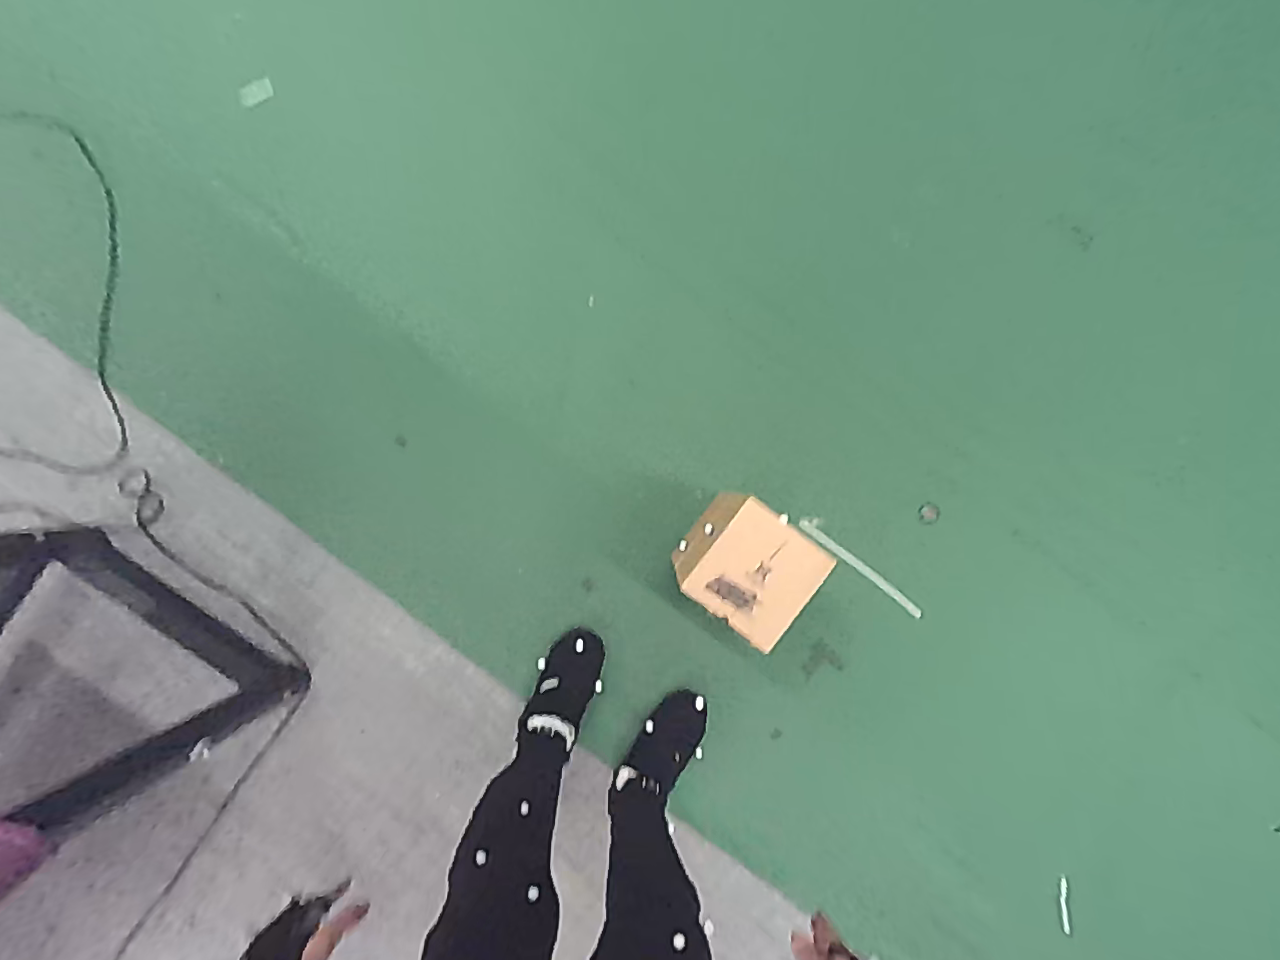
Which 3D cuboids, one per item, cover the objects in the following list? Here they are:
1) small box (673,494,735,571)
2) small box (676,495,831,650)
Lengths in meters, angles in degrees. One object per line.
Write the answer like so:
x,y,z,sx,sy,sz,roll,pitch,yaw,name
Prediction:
0.174,0.140,1.051,0.168,0.176,0.179,38,91,0,small box
0.173,0.140,0.887,0.168,0.176,0.179,38,90,0,small box
